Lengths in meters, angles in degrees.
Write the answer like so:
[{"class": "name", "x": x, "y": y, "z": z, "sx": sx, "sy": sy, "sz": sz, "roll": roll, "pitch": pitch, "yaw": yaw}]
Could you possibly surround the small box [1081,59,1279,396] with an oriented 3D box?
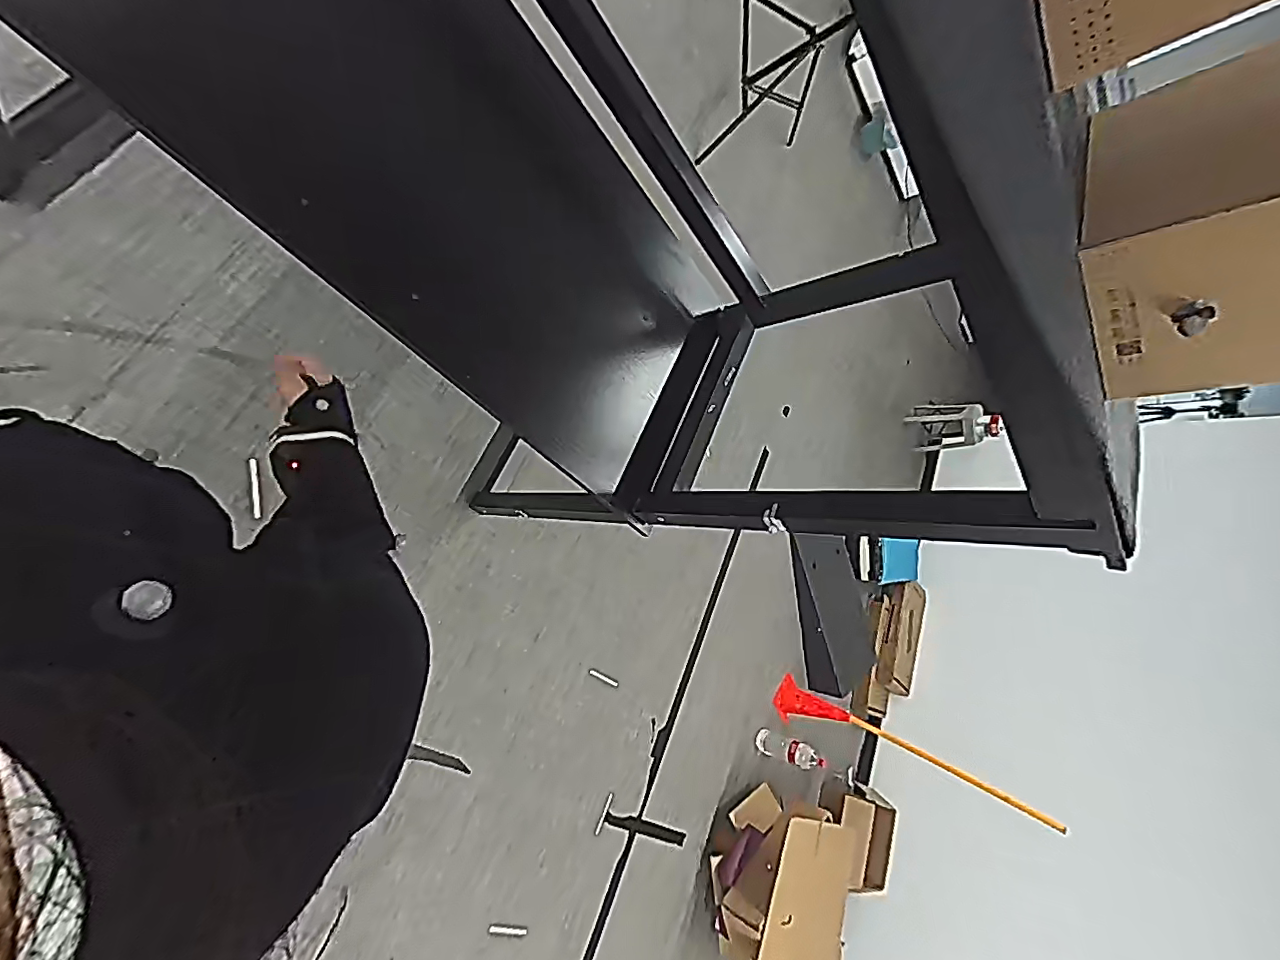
[{"class": "small box", "x": 0.447, "y": -0.186, "z": 0.403, "sx": 0.168, "sy": 0.176, "sz": 0.179, "roll": 43, "pitch": 60, "yaw": -34}]
